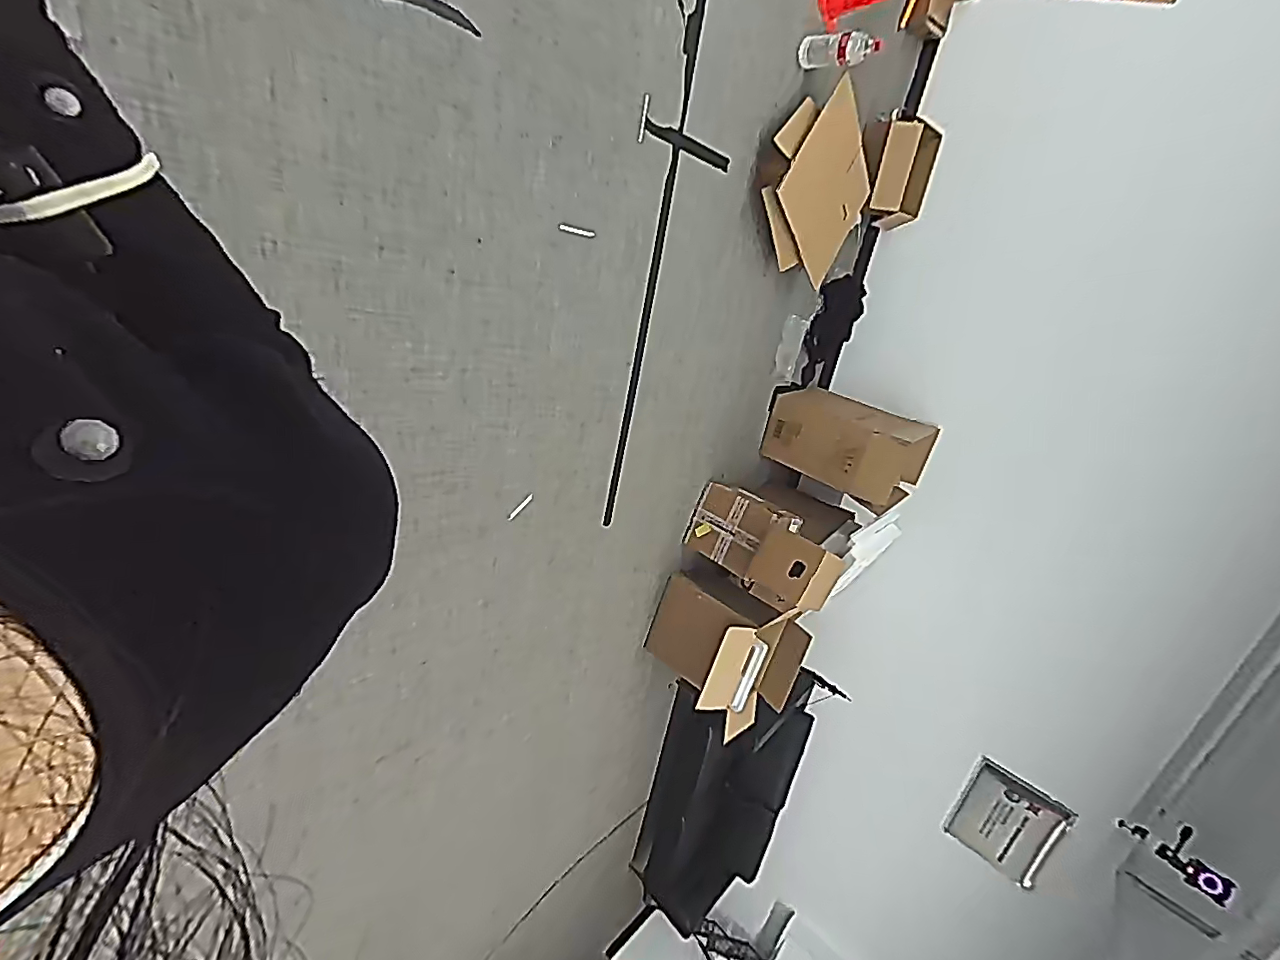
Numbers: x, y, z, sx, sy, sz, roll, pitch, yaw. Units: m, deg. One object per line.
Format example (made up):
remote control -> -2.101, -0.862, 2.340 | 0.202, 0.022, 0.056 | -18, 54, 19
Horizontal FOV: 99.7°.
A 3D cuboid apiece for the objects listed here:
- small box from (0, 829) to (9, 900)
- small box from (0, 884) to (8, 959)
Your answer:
small box -> -1.168, 0.621, 0.866 | 0.179, 0.176, 0.168 | -14, 122, -46
small box -> -1.045, 0.673, 0.773 | 0.168, 0.176, 0.179 | -14, 121, -47
